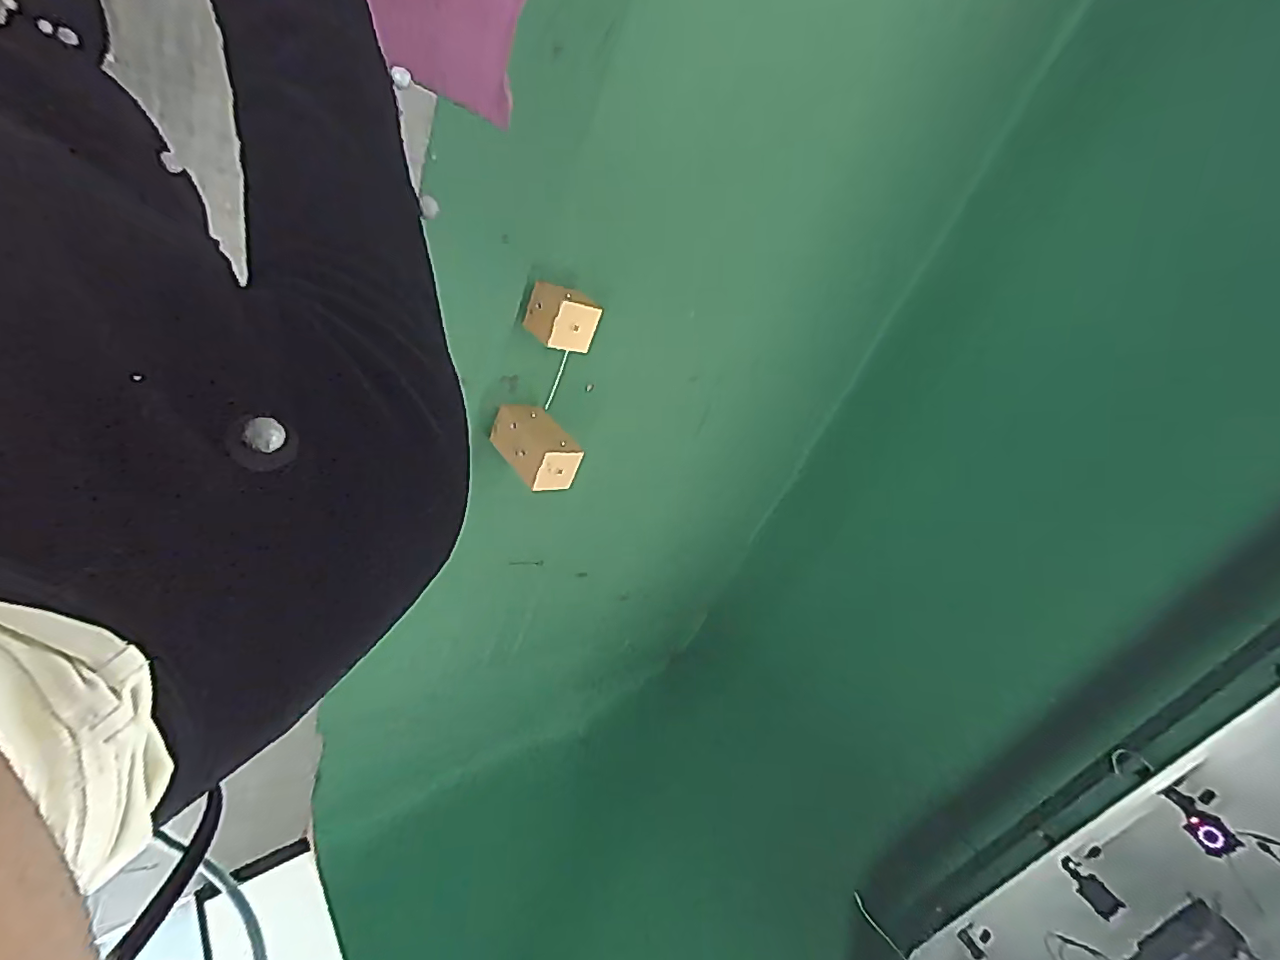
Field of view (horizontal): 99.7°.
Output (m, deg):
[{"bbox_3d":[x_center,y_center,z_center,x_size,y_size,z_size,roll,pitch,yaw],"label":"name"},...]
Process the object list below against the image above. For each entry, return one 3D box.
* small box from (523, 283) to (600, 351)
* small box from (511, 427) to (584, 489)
[{"bbox_3d":[-0.275,-0.567,1.879,0.179,0.176,0.168,-4,128,-45],"label":"small box"},{"bbox_3d":[-0.345,-0.085,2.001,0.179,0.176,0.168,-3,127,-47],"label":"small box"}]
